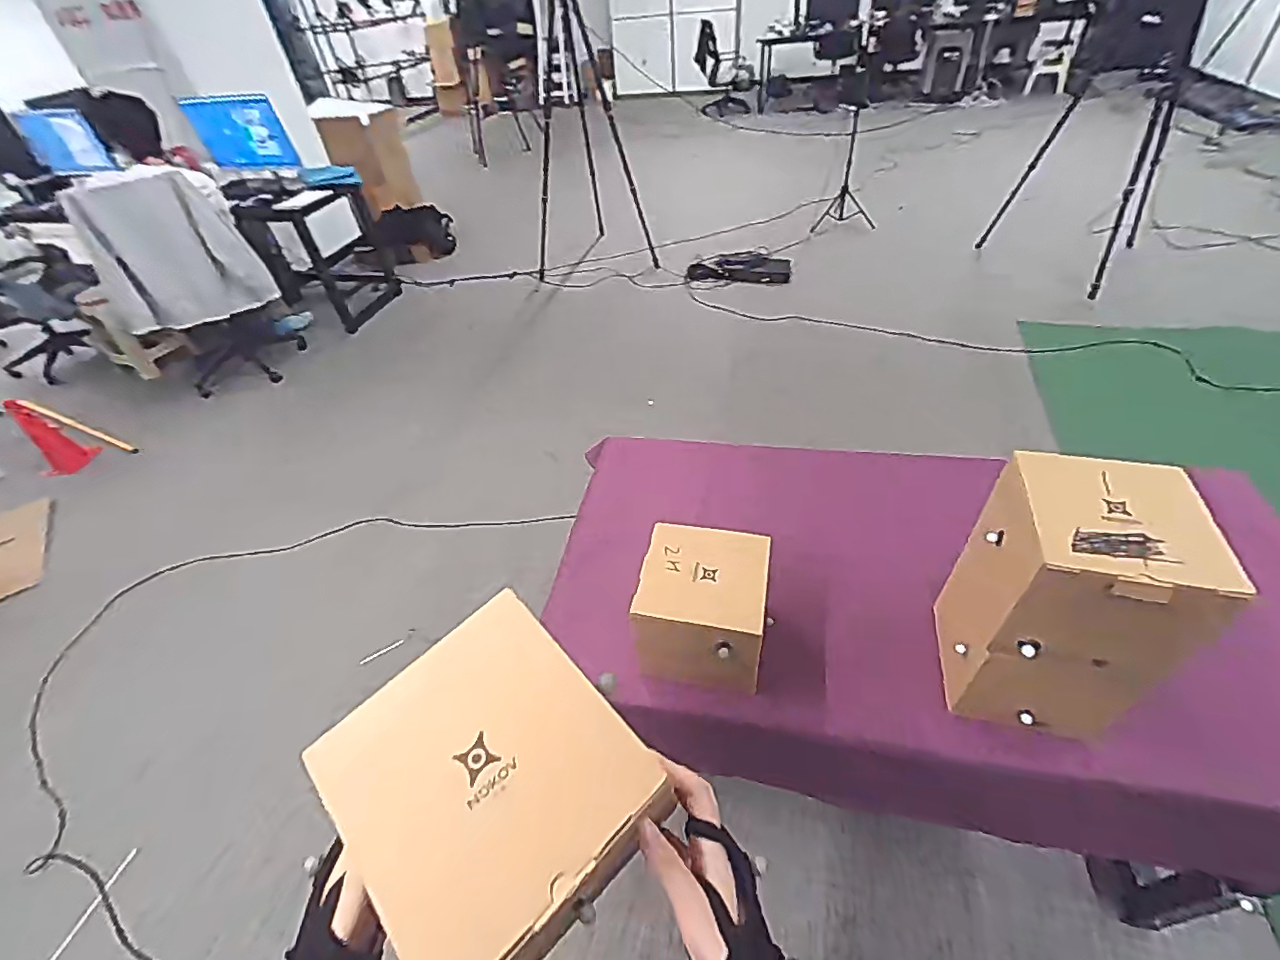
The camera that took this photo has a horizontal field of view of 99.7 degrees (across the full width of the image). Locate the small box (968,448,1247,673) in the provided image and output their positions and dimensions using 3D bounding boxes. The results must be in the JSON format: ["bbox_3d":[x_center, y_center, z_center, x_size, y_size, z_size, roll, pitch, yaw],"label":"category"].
[{"bbox_3d":[0.492,0.089,0.608,0.168,0.176,0.179,7,45,16],"label":"small box"}]

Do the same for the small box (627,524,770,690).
[{"bbox_3d":[0.093,0.190,0.803,0.179,0.176,0.168,5,44,14],"label":"small box"}]
